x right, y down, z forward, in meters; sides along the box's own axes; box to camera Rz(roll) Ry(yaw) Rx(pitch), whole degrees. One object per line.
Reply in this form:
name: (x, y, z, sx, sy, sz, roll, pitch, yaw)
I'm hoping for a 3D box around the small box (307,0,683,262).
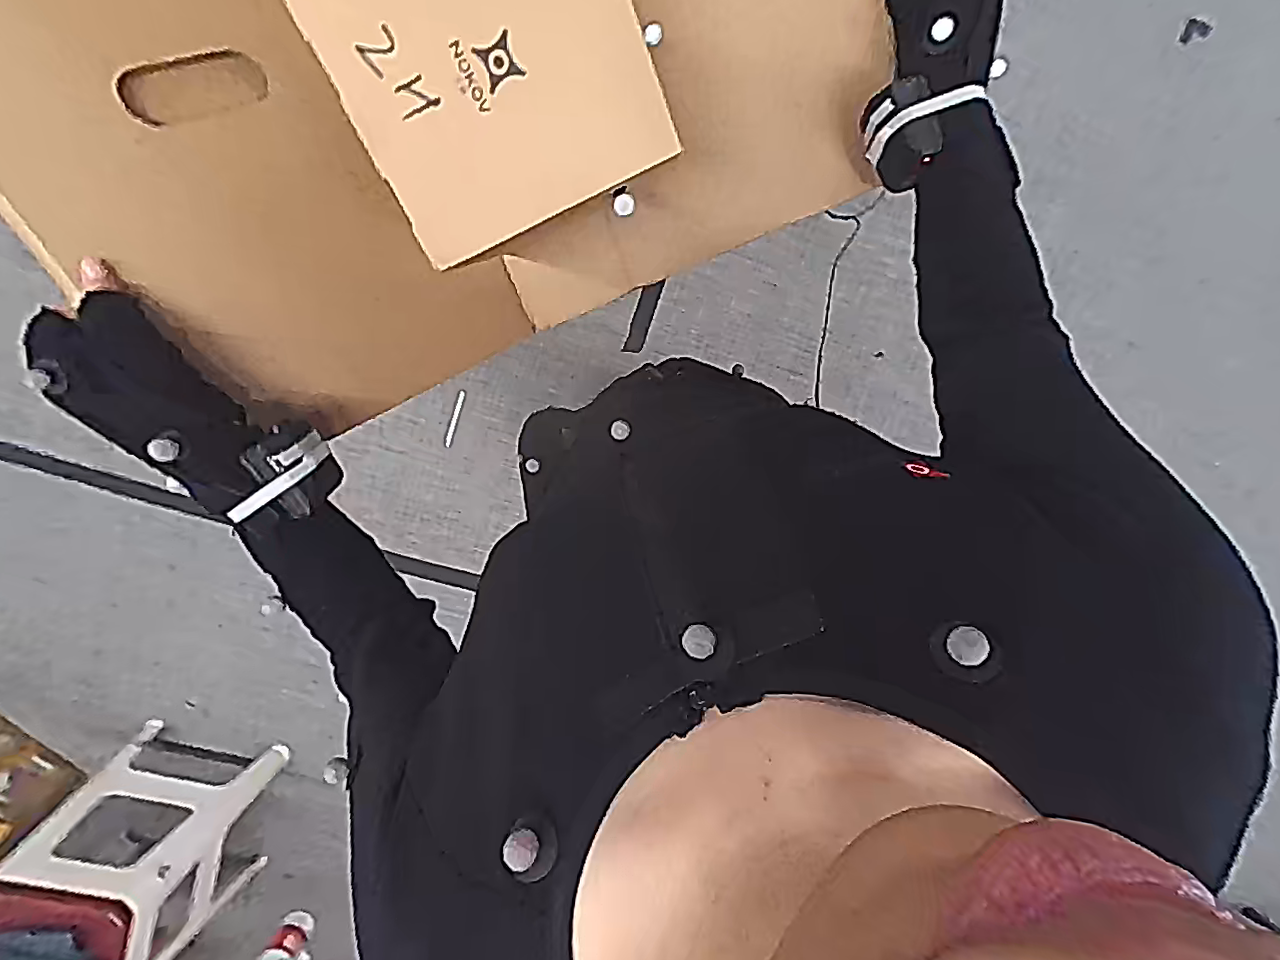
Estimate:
small box: (-0.079, -0.275, 0.385, 0.179, 0.176, 0.168, -18, 113, 12)
